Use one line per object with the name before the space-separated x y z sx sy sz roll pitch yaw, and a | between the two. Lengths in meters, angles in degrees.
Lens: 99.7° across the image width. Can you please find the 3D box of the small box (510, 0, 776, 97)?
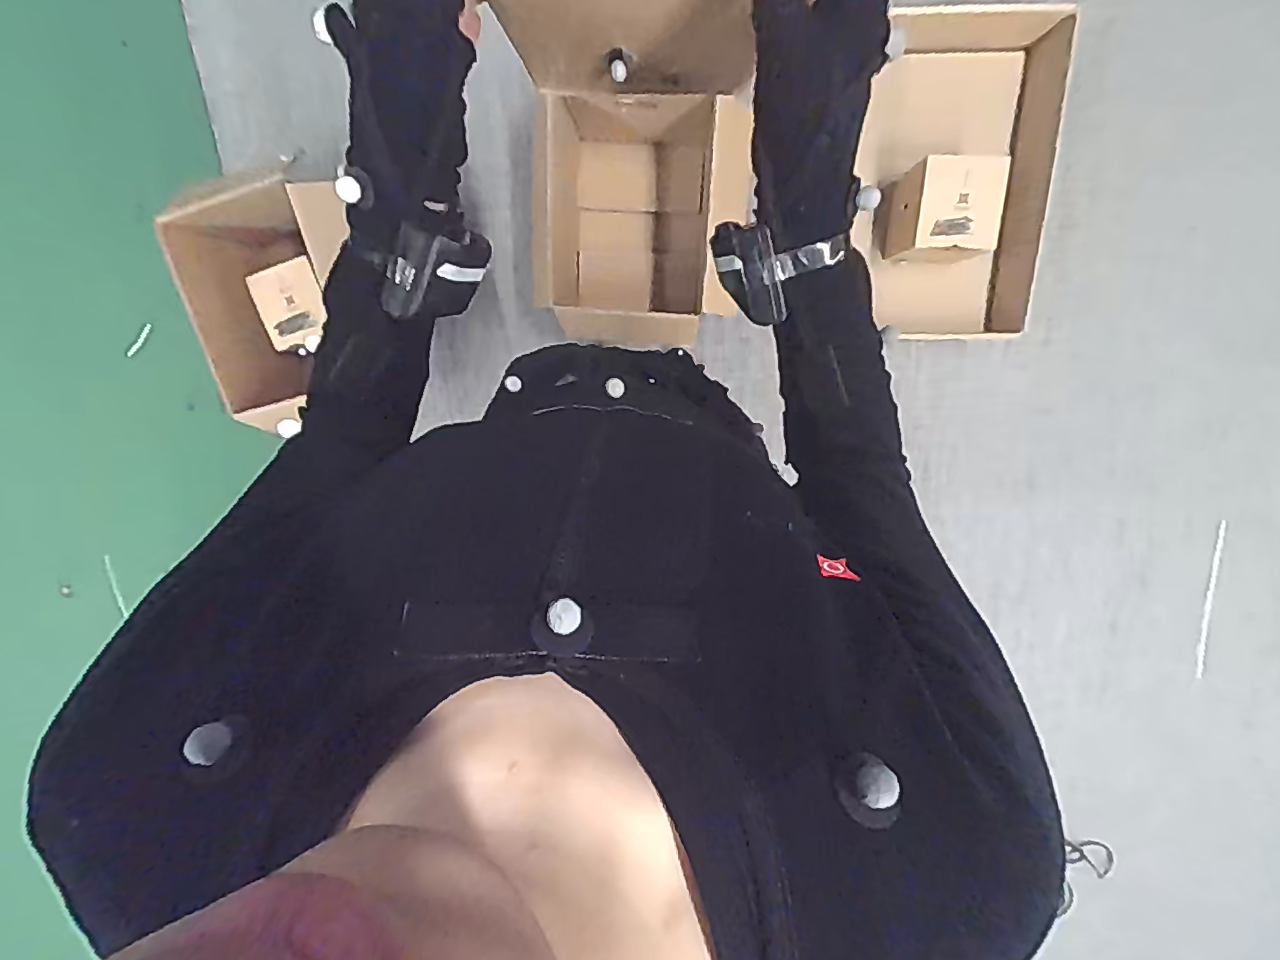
small box | 0.001 -0.364 0.321 0.168 0.176 0.179 3 105 4

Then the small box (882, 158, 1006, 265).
small box | 0.644 -0.571 1.170 0.168 0.176 0.179 3 102 2
